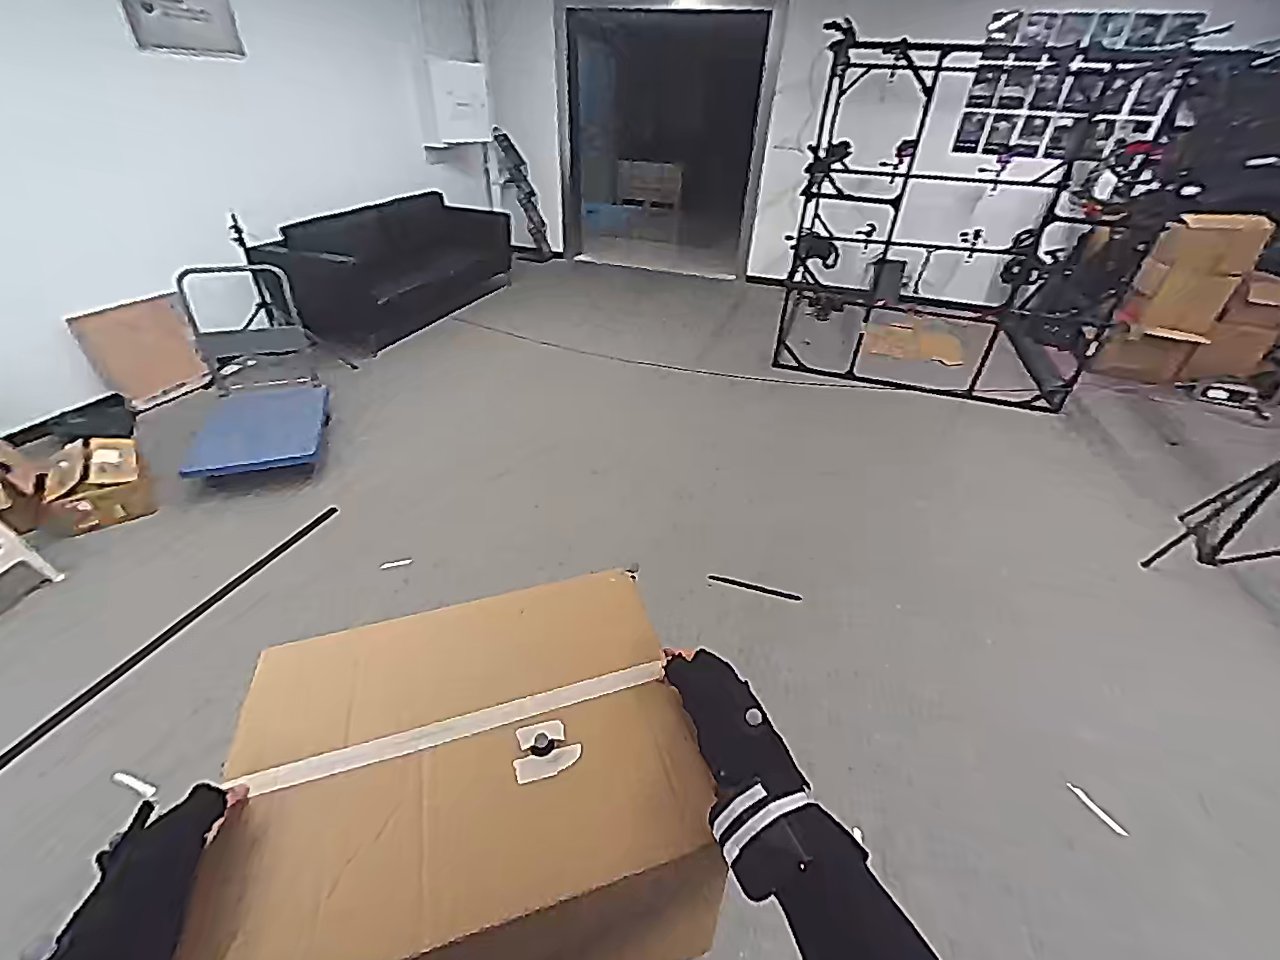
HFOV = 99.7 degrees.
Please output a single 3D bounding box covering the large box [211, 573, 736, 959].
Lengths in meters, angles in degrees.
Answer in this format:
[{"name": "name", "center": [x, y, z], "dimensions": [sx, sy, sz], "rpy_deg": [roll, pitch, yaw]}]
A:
[{"name": "large box", "center": [-0.149, 0.358, 0.607], "dimensions": [0.408, 0.320, 0.320], "rpy_deg": [-10, 37, -13]}]
